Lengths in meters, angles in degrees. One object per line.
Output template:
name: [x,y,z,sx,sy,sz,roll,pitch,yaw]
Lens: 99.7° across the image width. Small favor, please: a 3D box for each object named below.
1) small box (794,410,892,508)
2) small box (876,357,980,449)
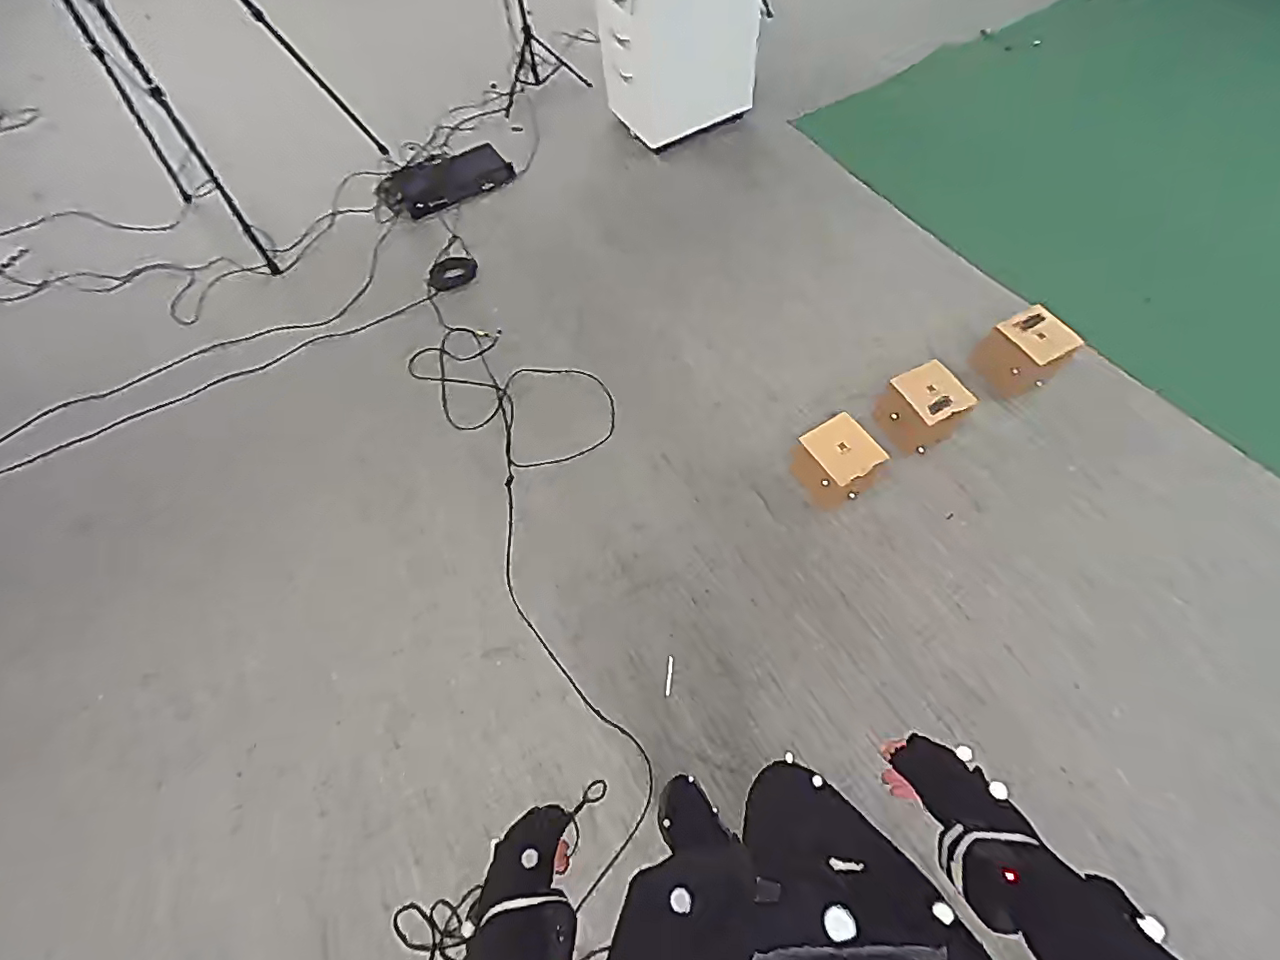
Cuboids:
small box: [0.548,-0.053,1.490,0.168,0.176,0.179,-30,64,-10]
small box: [0.814,-0.212,1.547,0.168,0.176,0.179,-24,62,-8]
